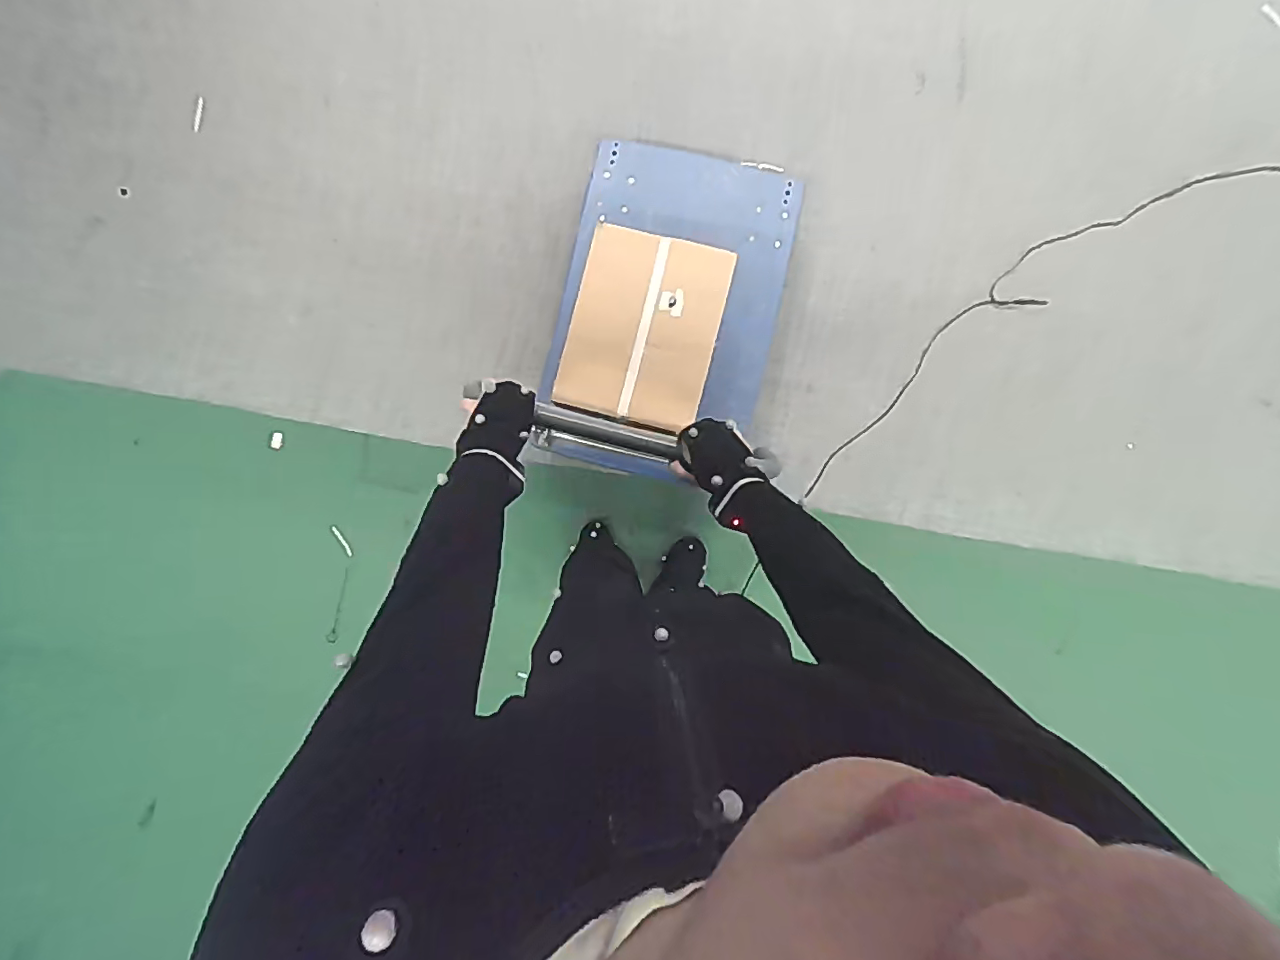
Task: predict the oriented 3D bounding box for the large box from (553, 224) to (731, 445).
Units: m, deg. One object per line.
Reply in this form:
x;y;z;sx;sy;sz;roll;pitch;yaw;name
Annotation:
0.009;-0.325;1.313;0.320;0.320;0.408;15;88;2;large box
